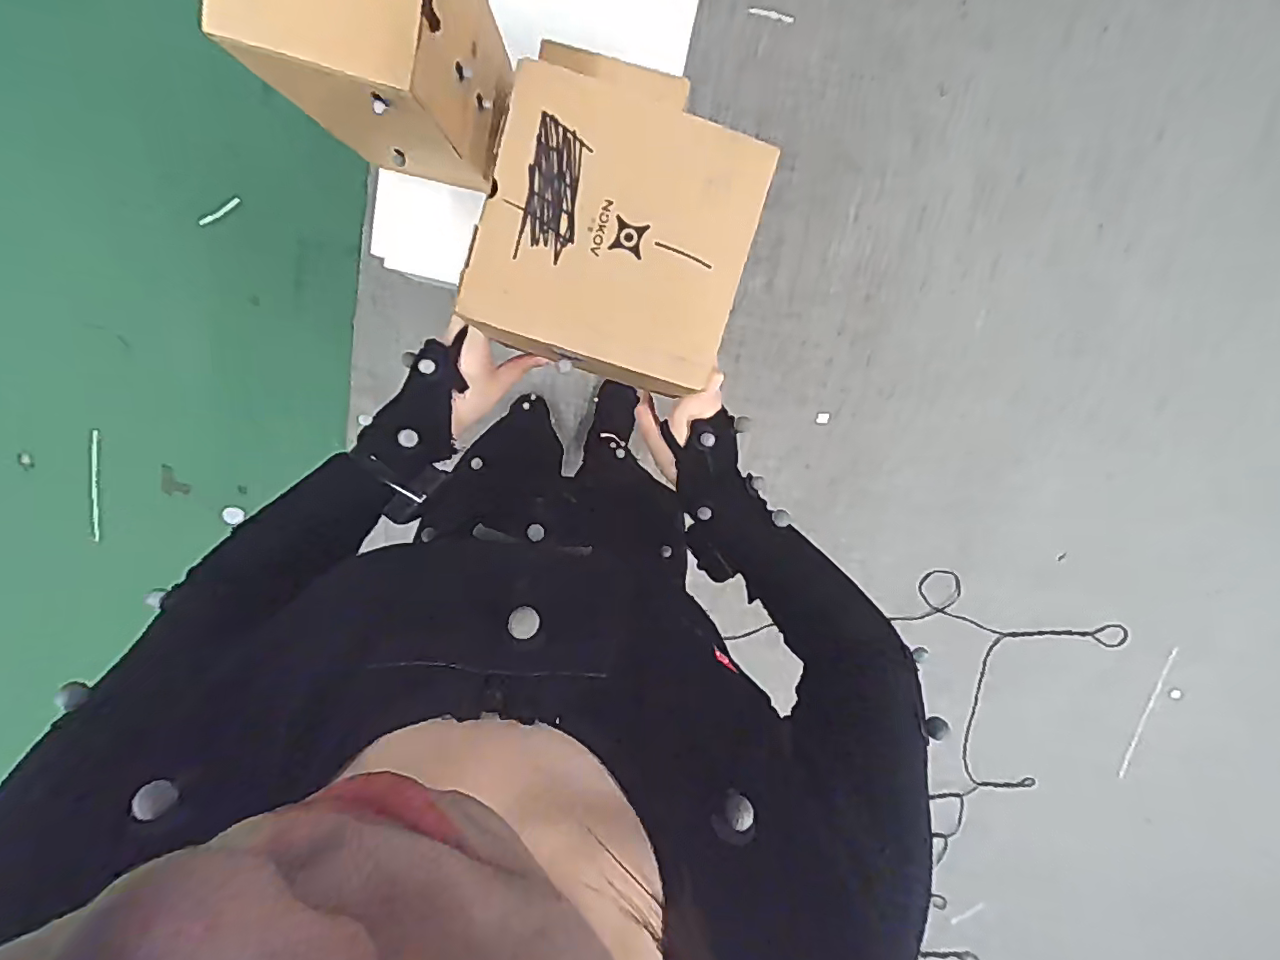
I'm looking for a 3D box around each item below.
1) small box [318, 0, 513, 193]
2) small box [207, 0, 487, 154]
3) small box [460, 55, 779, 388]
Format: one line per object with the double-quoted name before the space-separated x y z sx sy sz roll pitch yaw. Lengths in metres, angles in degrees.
"small box" -0.273 -0.487 0.684 0.179 0.176 0.168 11 102 -5
"small box" -0.264 -0.450 0.525 0.179 0.176 0.168 13 101 -8
"small box" -0.019 -0.177 0.436 0.179 0.176 0.168 17 95 -7
